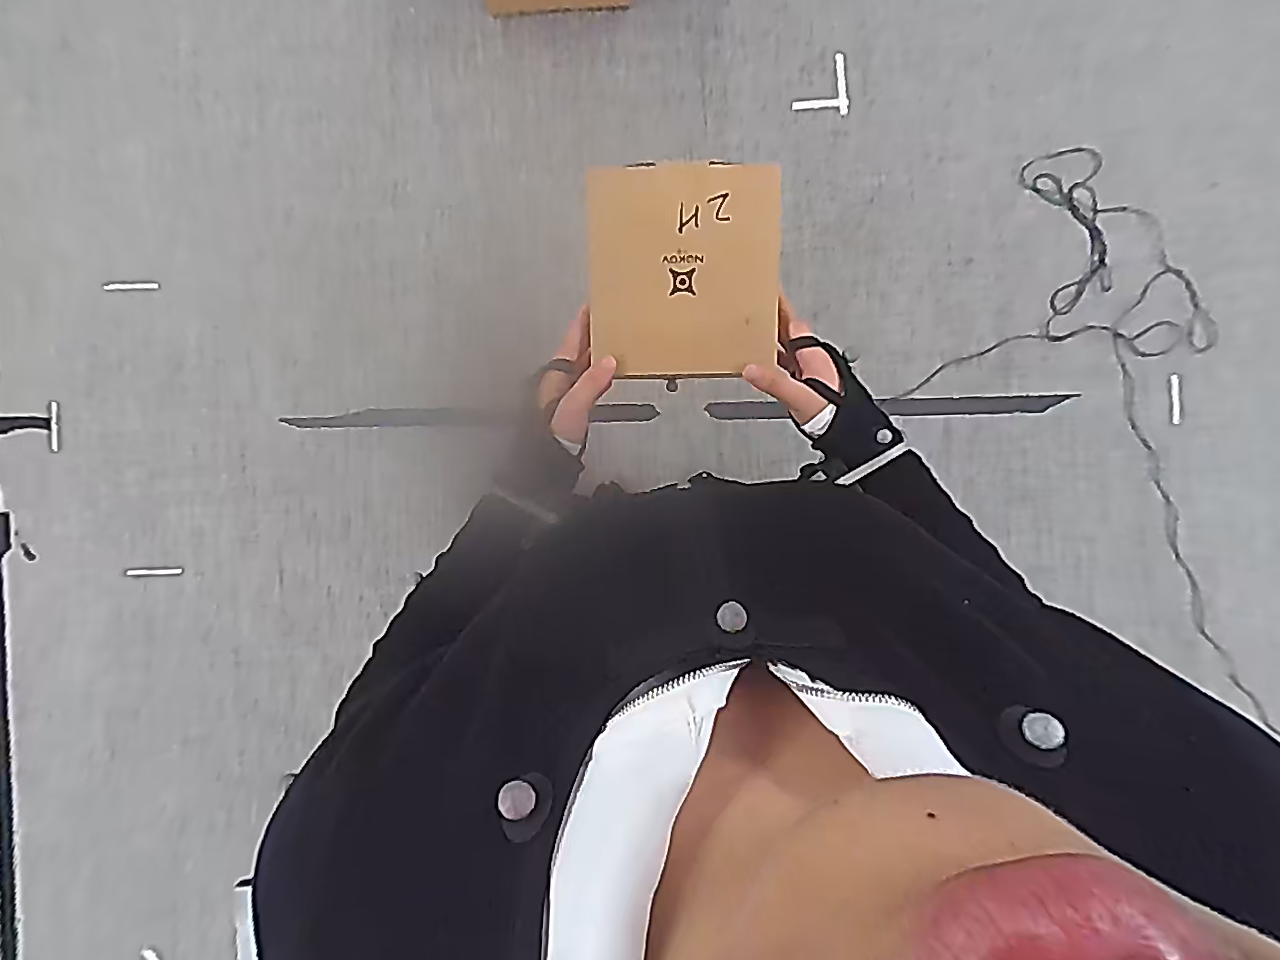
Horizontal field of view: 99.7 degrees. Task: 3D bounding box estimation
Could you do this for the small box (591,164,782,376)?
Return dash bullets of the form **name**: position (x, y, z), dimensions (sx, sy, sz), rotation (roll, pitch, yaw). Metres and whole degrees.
- **small box**: position (0.039, -0.196, 0.551), dimensions (0.168, 0.176, 0.179), rotation (-1, 99, -1)
